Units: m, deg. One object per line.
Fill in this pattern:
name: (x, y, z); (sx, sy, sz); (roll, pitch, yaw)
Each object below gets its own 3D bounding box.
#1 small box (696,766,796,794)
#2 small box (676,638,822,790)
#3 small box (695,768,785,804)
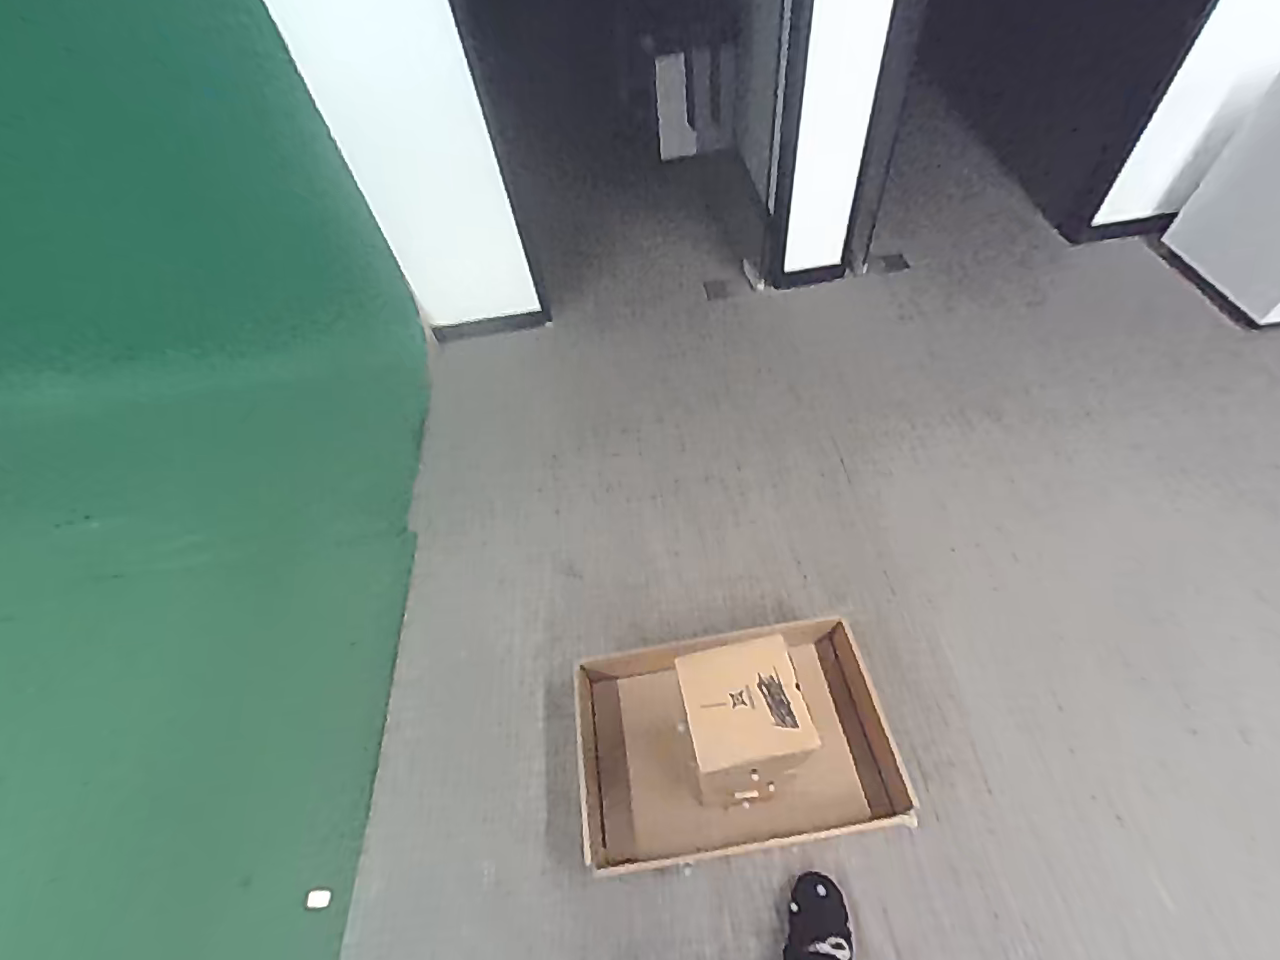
small box: (0.178, 0.467, 0.997); (0.168, 0.176, 0.179); (-8, 52, 1)
small box: (0.161, 0.376, 0.862); (0.179, 0.176, 0.168); (-14, 53, -4)
small box: (0.196, 0.565, 1.125); (0.168, 0.176, 0.179); (-8, 53, 2)
